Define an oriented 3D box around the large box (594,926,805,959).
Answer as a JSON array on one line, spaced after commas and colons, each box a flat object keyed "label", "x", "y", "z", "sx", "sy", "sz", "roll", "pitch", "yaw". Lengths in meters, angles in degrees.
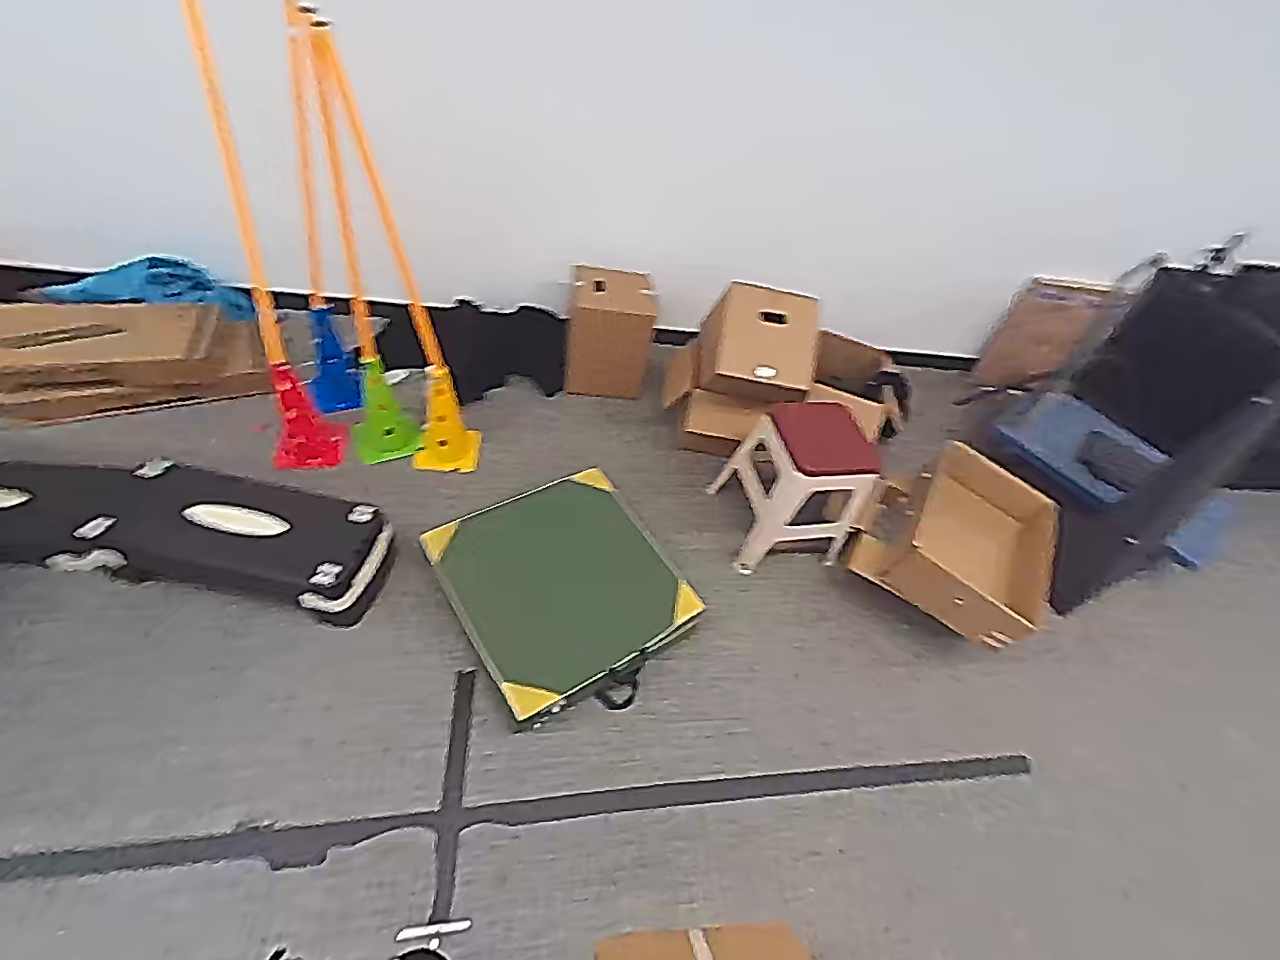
[{"label": "large box", "x": 0.112, "y": 0.836, "z": 0.636, "sx": 0.320, "sy": 0.408, "sz": 0.320, "roll": 1, "pitch": 82, "yaw": -9}]
